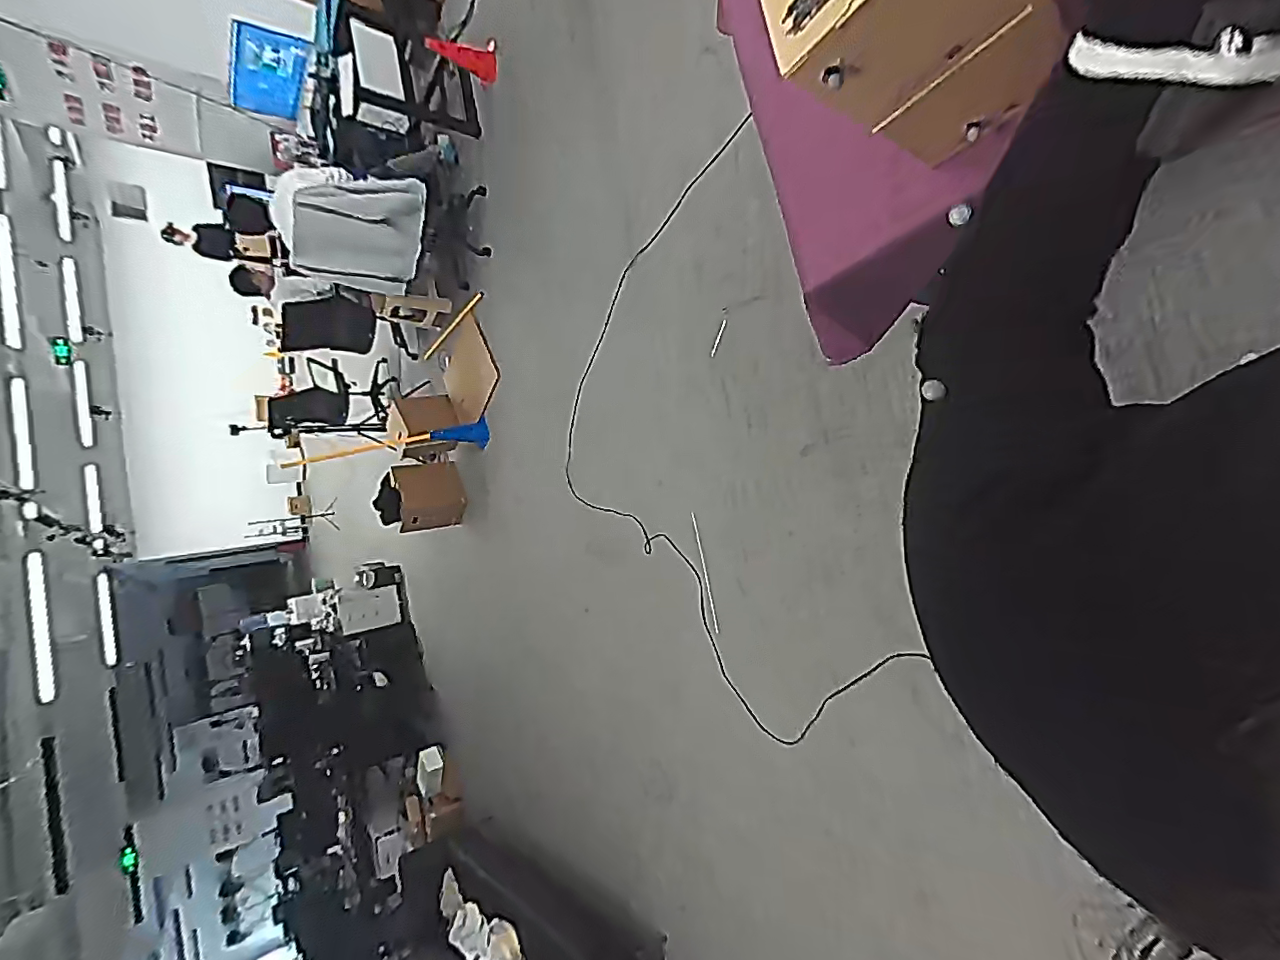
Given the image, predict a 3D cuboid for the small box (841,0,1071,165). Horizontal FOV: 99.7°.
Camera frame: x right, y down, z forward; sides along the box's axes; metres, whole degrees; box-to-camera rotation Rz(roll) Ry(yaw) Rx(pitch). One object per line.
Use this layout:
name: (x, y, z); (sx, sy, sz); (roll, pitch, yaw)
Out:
small box: (0.372, -0.517, 0.640); (0.168, 0.176, 0.179); (-19, 81, 51)
